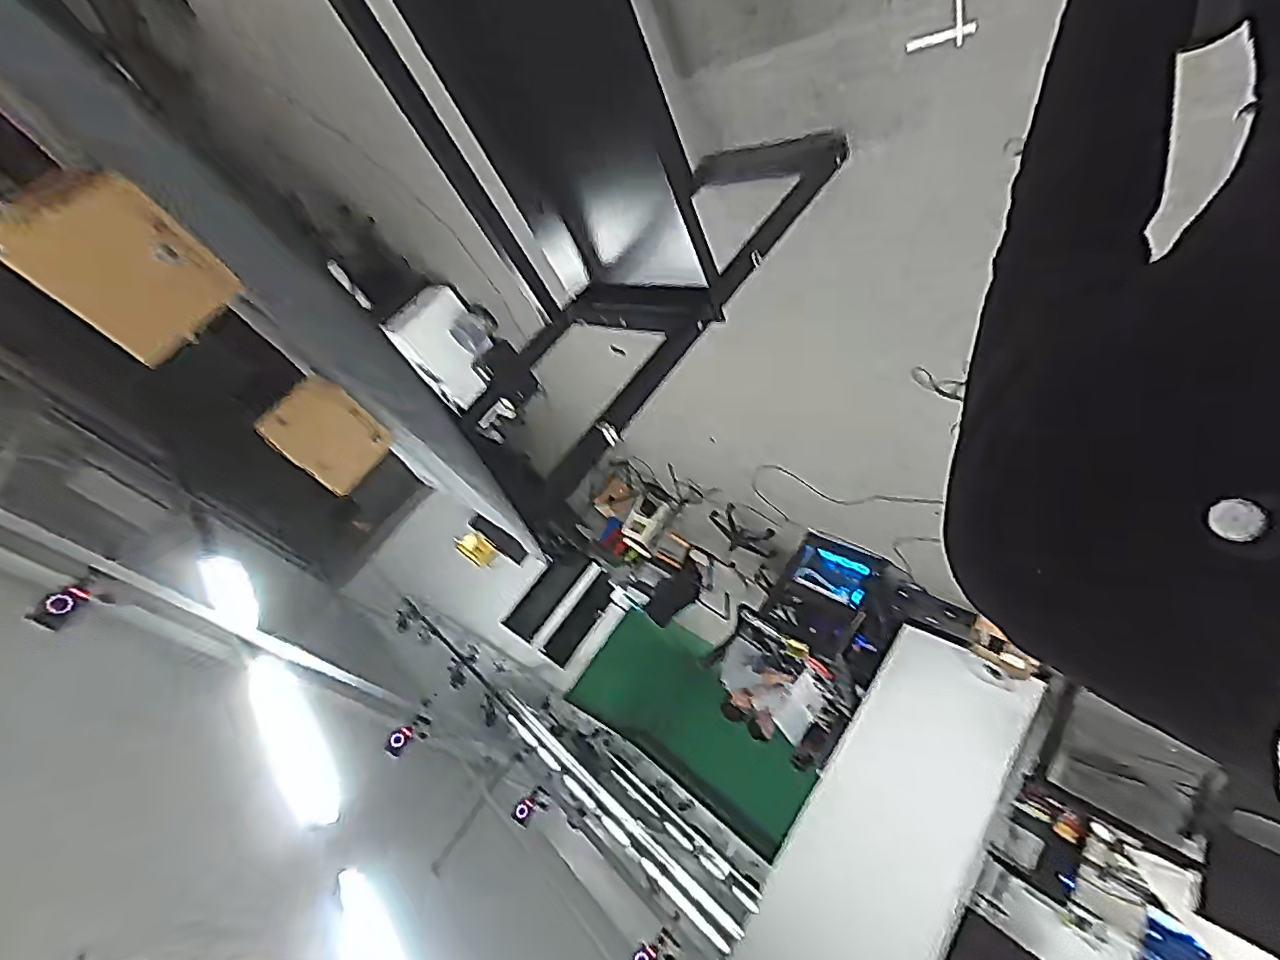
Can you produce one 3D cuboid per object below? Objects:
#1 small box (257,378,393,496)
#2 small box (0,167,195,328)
[{"bbox_3d":[-0.668,-0.098,1.162,0.179,0.176,0.168,22,156,43],"label":"small box"},{"bbox_3d":[-0.864,-0.371,0.866,0.179,0.176,0.168,23,157,42],"label":"small box"}]
